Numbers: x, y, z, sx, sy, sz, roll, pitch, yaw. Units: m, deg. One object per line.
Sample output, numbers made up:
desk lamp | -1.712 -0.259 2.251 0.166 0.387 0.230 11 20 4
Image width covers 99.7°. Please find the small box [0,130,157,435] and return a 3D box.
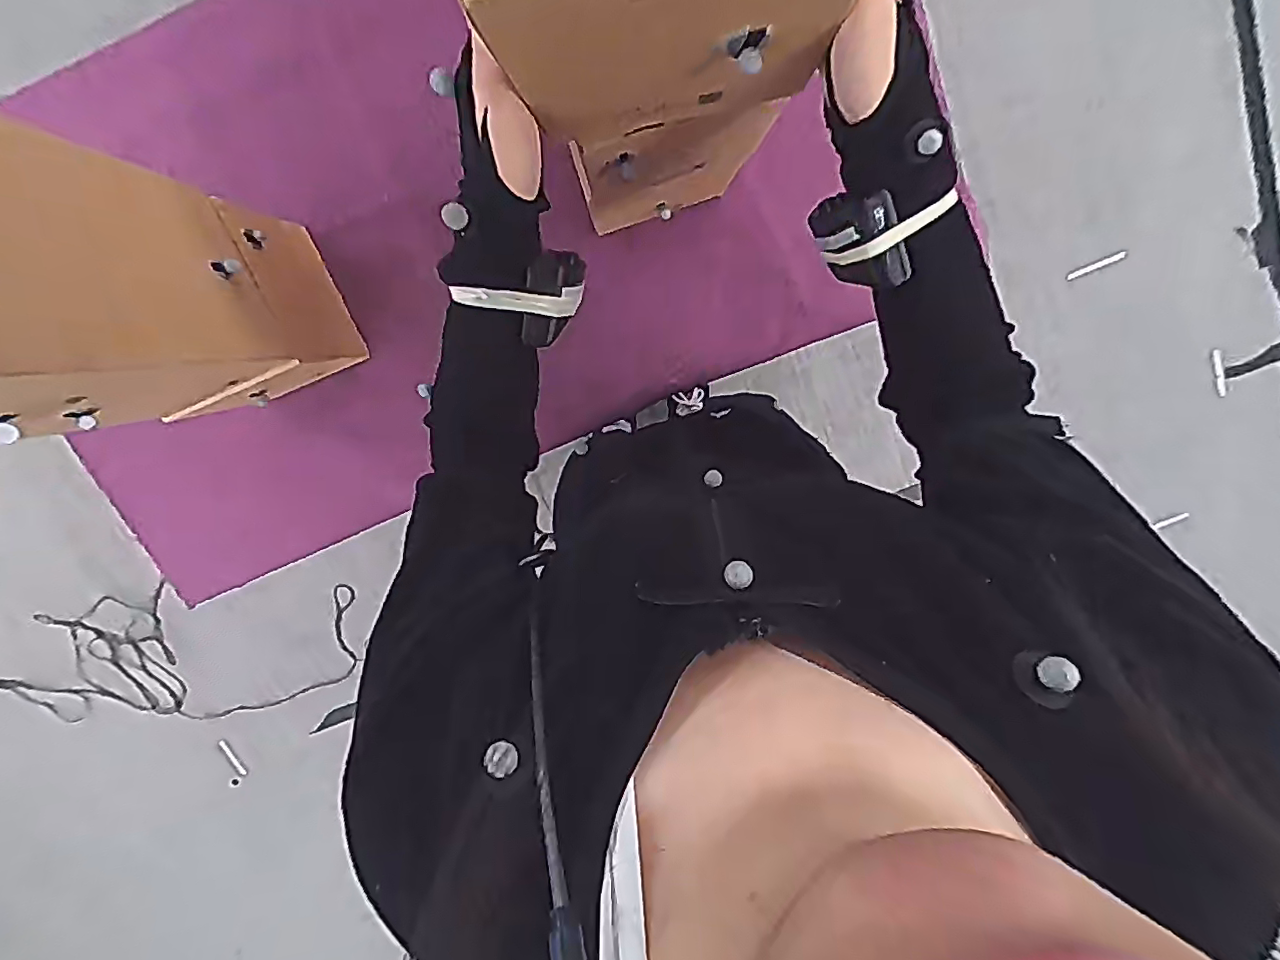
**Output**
small box | -0.445 -0.113 0.298 0.168 0.176 0.179 -22 105 4

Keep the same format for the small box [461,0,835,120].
small box | 0.004 -0.291 0.243 0.168 0.176 0.179 -8 106 5

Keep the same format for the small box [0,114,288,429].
small box | -0.455 -0.154 0.457 0.168 0.176 0.179 -22 103 4

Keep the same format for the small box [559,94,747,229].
small box | -0.001 -0.396 0.578 0.168 0.176 0.179 -17 104 3

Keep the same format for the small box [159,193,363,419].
small box | -0.458 -0.190 0.617 0.168 0.176 0.179 -22 104 4
